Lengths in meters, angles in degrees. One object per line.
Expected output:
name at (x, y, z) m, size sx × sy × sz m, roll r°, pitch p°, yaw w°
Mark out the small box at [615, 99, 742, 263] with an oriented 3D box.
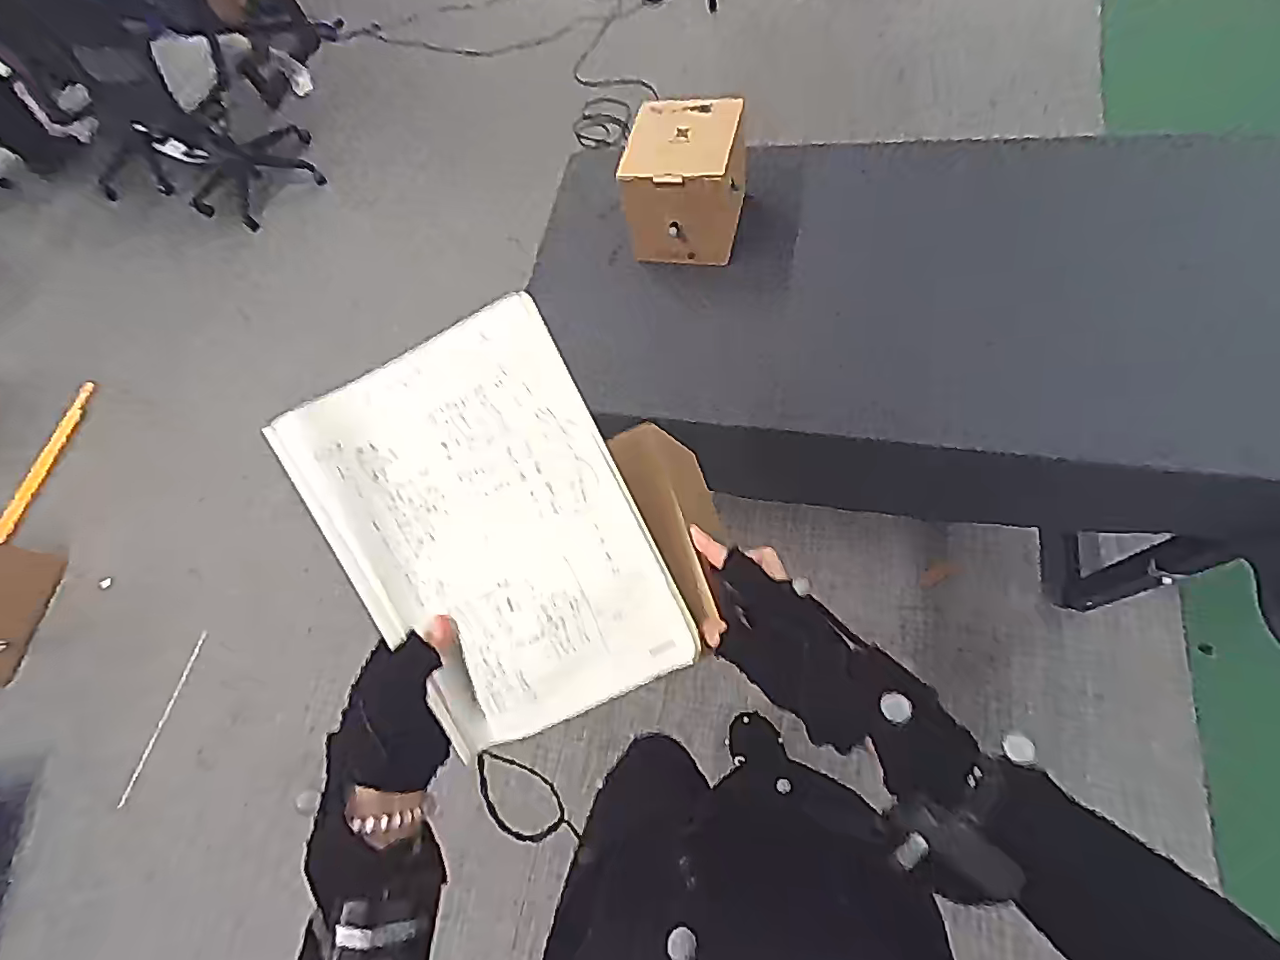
small box at (0.074, -0.484, 0.891) m, size 0.168 × 0.176 × 0.179 m, roll 9°, pitch 69°, yaw 15°
